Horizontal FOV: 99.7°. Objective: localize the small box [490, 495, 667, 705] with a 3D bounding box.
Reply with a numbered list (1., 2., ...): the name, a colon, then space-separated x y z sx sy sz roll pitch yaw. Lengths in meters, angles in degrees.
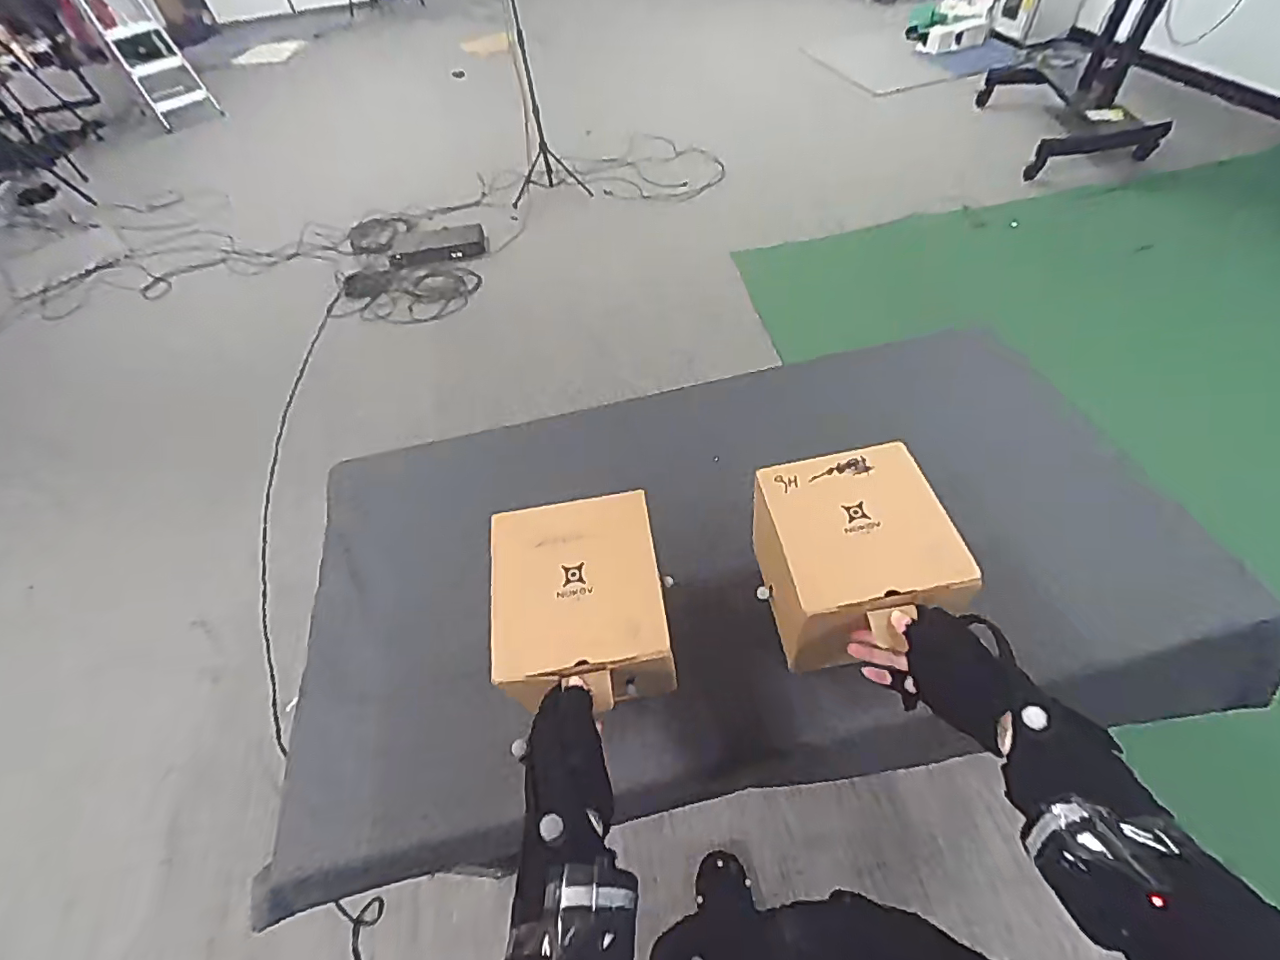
1. small box: -0.064 0.144 0.609 0.168 0.176 0.179 -10 57 -2
